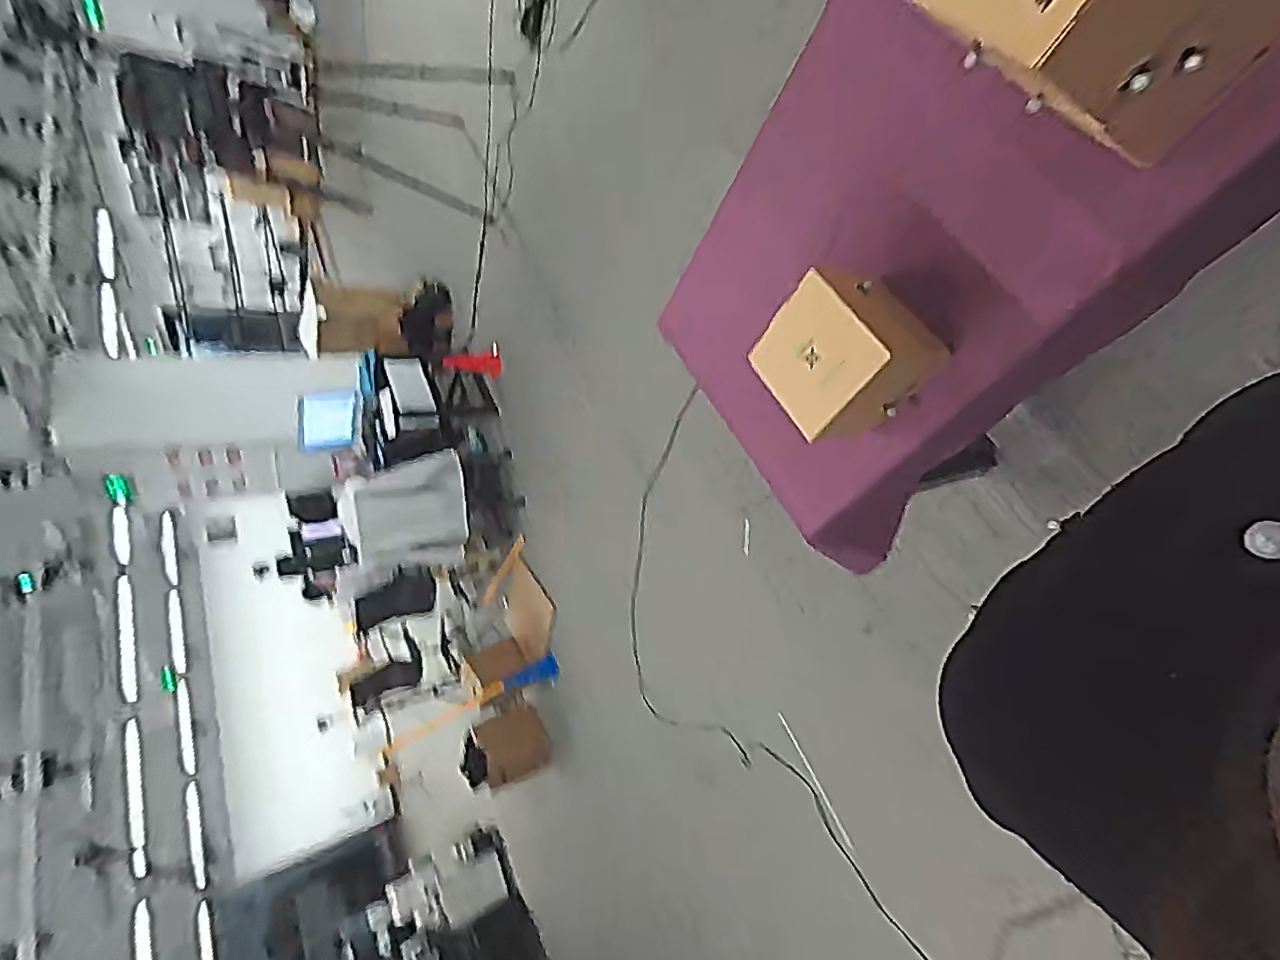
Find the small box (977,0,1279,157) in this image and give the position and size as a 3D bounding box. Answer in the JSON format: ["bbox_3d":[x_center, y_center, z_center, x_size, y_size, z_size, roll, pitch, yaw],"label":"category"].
[{"bbox_3d":[0.473,-0.443,0.518,0.179,0.176,0.168,61,141,26],"label":"small box"}]

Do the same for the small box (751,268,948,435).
[{"bbox_3d":[0.307,-0.187,0.807,0.179,0.176,0.168,61,140,24],"label":"small box"}]

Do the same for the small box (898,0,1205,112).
[{"bbox_3d":[0.342,-0.422,0.421,0.179,0.176,0.168,60,140,26],"label":"small box"}]
